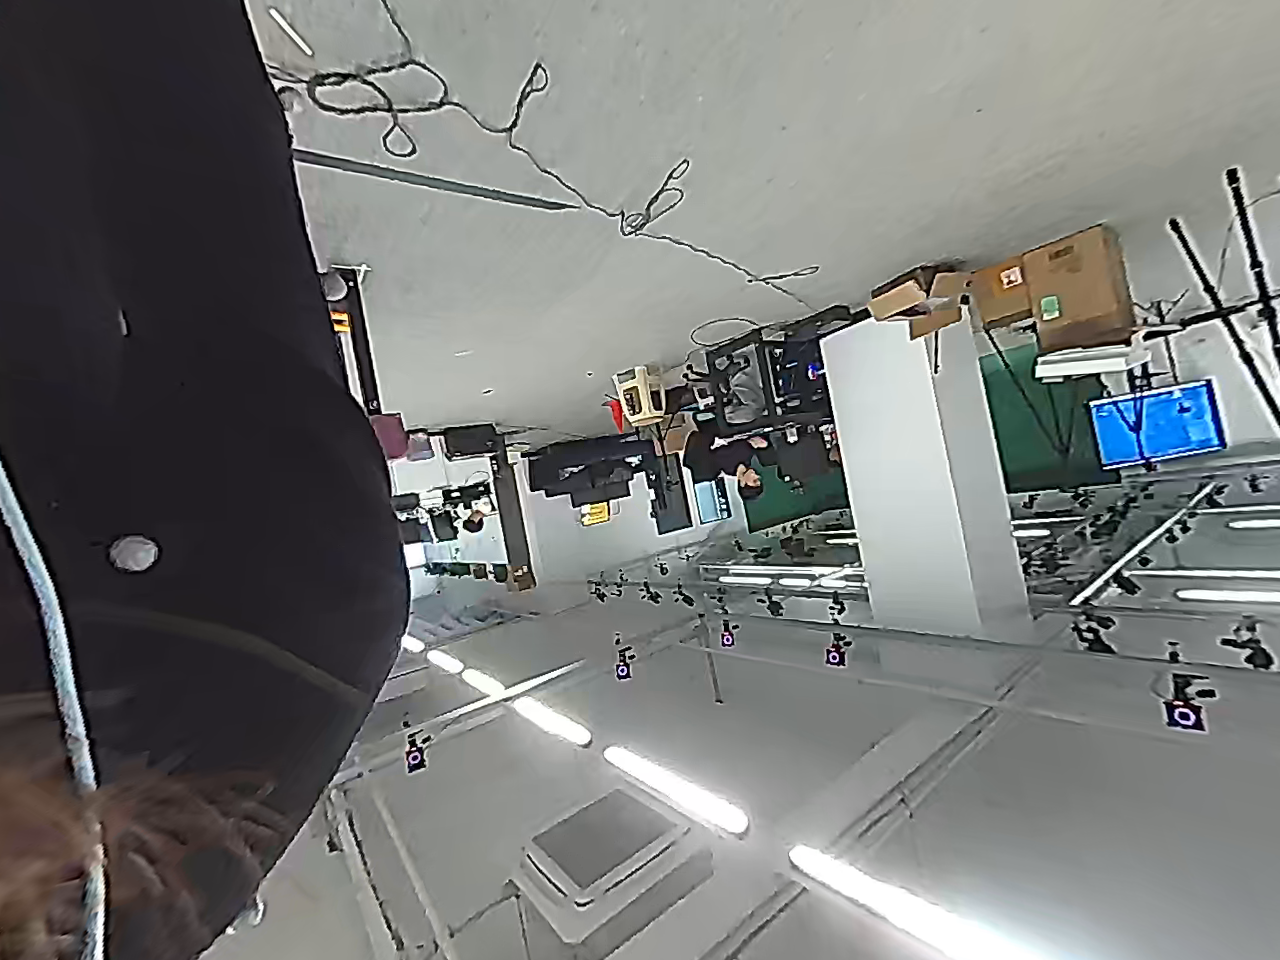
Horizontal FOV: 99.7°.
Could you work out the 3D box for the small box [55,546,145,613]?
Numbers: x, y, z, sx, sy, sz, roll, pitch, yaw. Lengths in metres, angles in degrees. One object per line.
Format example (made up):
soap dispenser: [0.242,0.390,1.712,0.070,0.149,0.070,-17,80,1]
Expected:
small box: [-1.667,0.301,1.678,0.168,0.176,0.179,-11,179,-37]

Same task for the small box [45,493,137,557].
small box: [-1.693,0.139,1.672,0.168,0.176,0.179,-11,180,-37]
